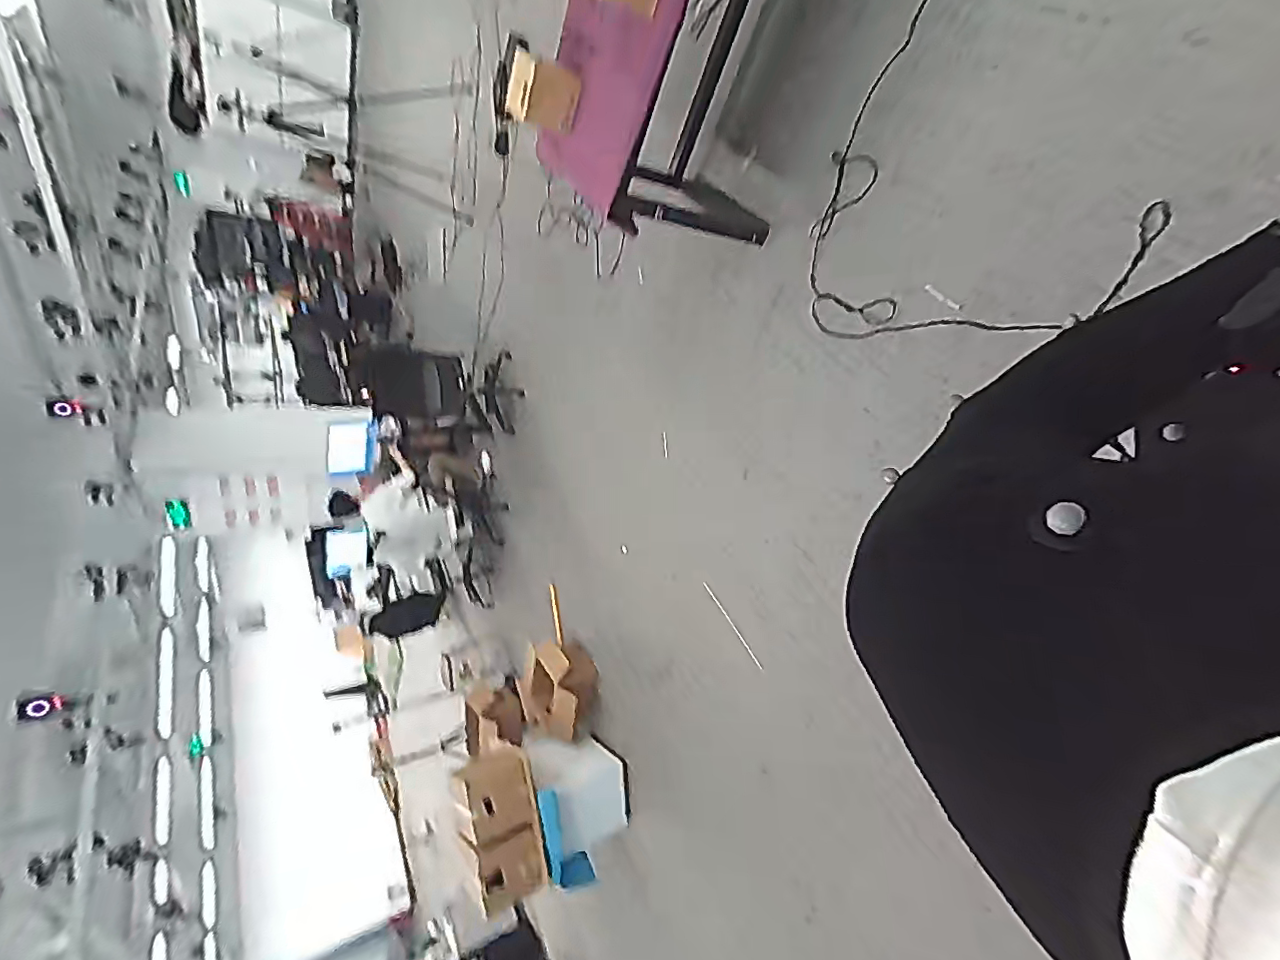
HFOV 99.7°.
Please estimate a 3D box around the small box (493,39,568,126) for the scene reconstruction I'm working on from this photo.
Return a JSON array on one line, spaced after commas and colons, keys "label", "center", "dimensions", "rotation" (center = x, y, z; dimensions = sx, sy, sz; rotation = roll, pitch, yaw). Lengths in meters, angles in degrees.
[{"label": "small box", "center": [-0.353, -1.279, 1.751], "dimensions": [0.179, 0.176, 0.168], "rotation": [56, 136, 31]}]
